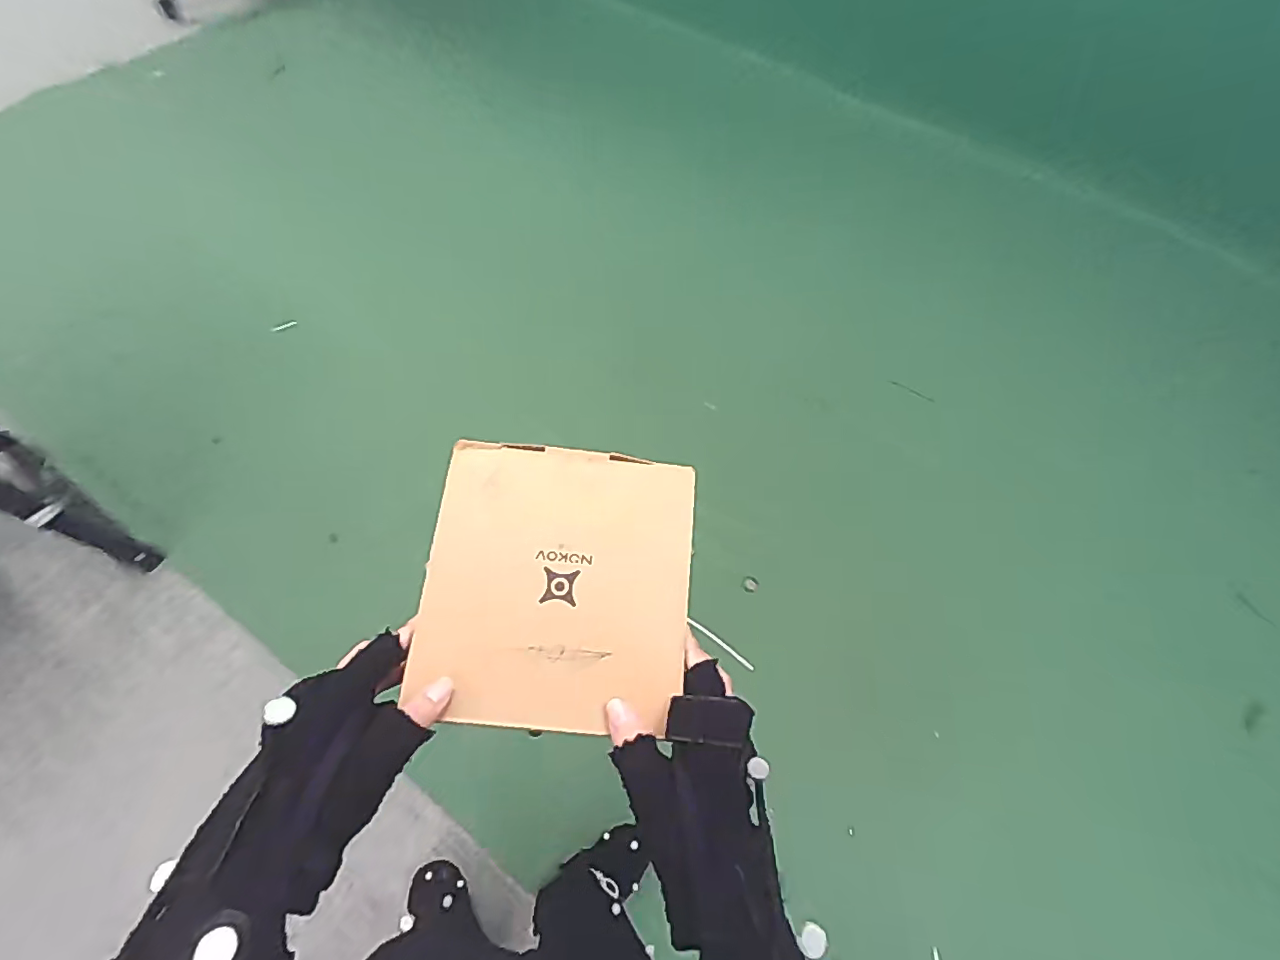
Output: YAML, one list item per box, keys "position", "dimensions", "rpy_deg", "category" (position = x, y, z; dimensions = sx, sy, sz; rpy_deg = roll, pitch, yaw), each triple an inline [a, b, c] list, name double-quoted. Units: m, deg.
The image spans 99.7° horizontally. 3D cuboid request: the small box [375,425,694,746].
- position: [-0.061, 0.081, 0.397]
  dimensions: [0.168, 0.176, 0.179]
  rpy_deg: [7, 71, -2]
  category: "small box"
